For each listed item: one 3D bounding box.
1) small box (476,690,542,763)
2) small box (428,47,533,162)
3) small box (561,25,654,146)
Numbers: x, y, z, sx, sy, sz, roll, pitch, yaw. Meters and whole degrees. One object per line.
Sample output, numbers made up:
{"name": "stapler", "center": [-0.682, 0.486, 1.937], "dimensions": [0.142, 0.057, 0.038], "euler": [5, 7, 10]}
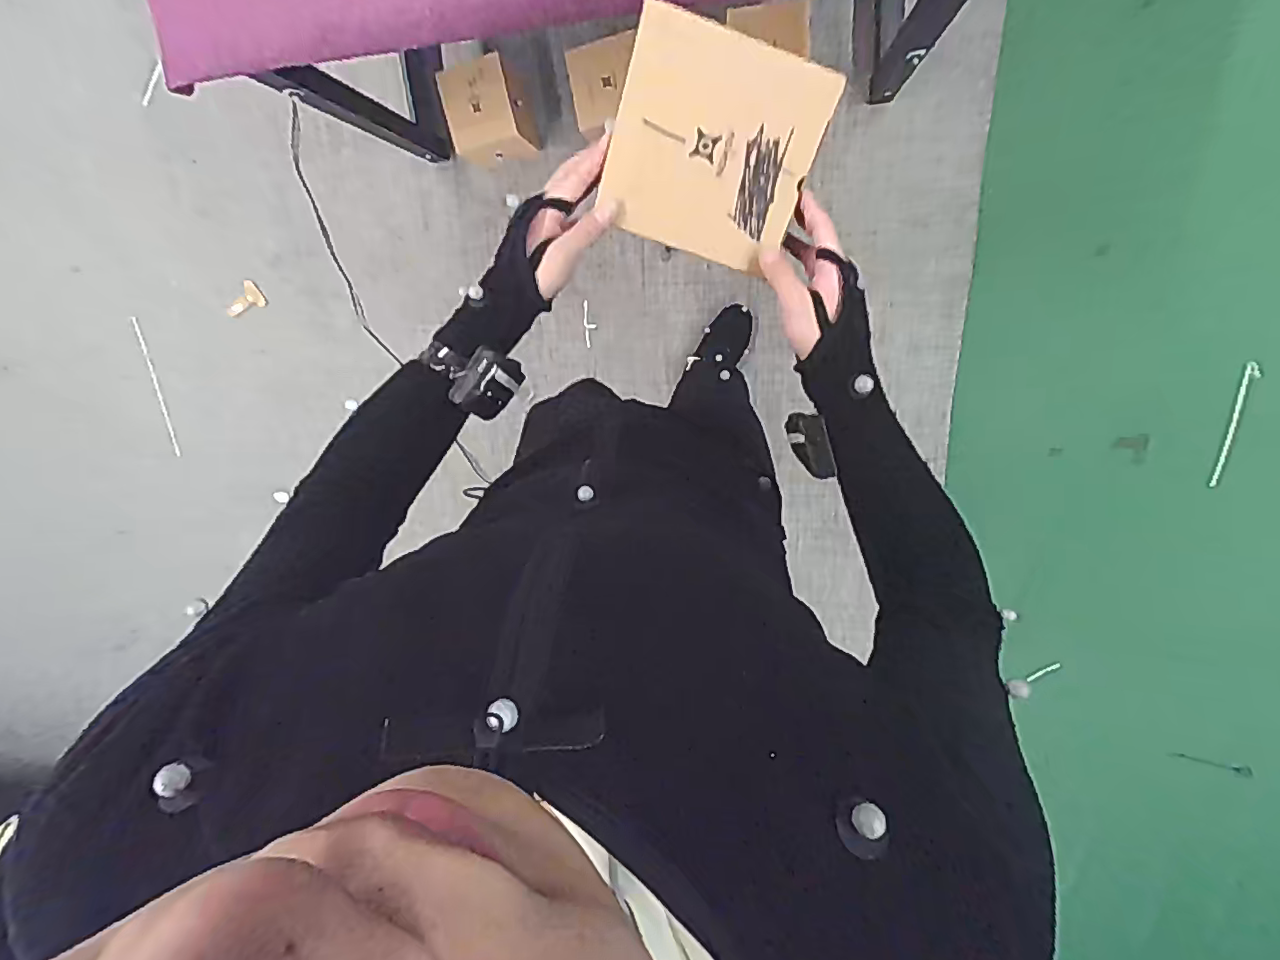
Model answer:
{"name": "small box", "center": [-0.452, 0.861, 1.903], "dimensions": [0.179, 0.176, 0.168], "euler": [0, 108, 9]}
{"name": "small box", "center": [-0.379, -0.902, 1.322], "dimensions": [0.168, 0.176, 0.179], "euler": [-9, 106, 12]}
{"name": "small box", "center": [-0.066, -0.913, 1.269], "dimensions": [0.179, 0.176, 0.168], "euler": [-7, 106, 12]}
